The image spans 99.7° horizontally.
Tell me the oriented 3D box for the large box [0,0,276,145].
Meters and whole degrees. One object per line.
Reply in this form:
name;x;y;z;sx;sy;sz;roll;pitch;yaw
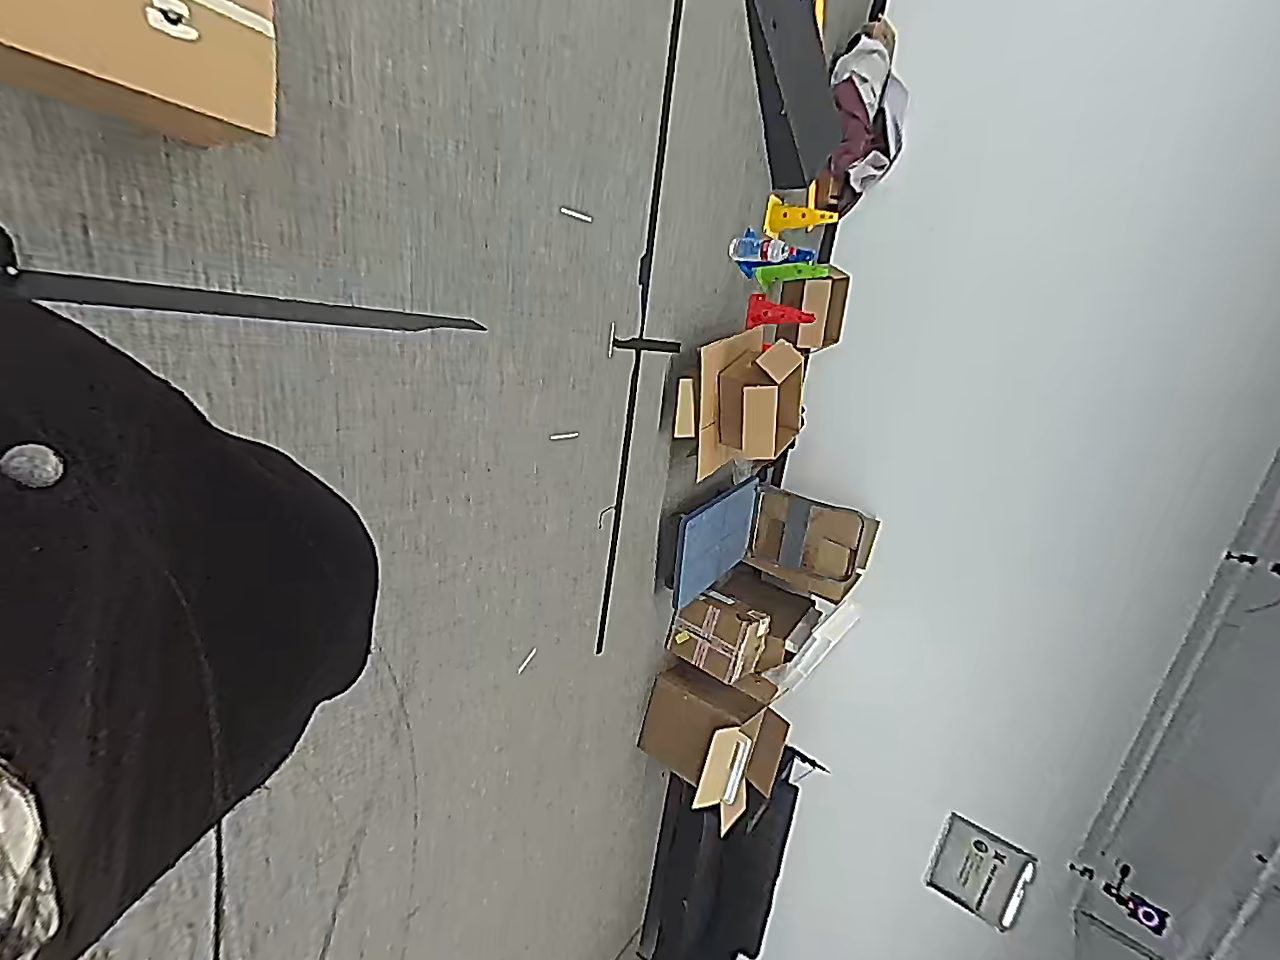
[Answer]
large box;-0.841;-0.755;0.814;0.408;0.320;0.320;-11;115;-54
